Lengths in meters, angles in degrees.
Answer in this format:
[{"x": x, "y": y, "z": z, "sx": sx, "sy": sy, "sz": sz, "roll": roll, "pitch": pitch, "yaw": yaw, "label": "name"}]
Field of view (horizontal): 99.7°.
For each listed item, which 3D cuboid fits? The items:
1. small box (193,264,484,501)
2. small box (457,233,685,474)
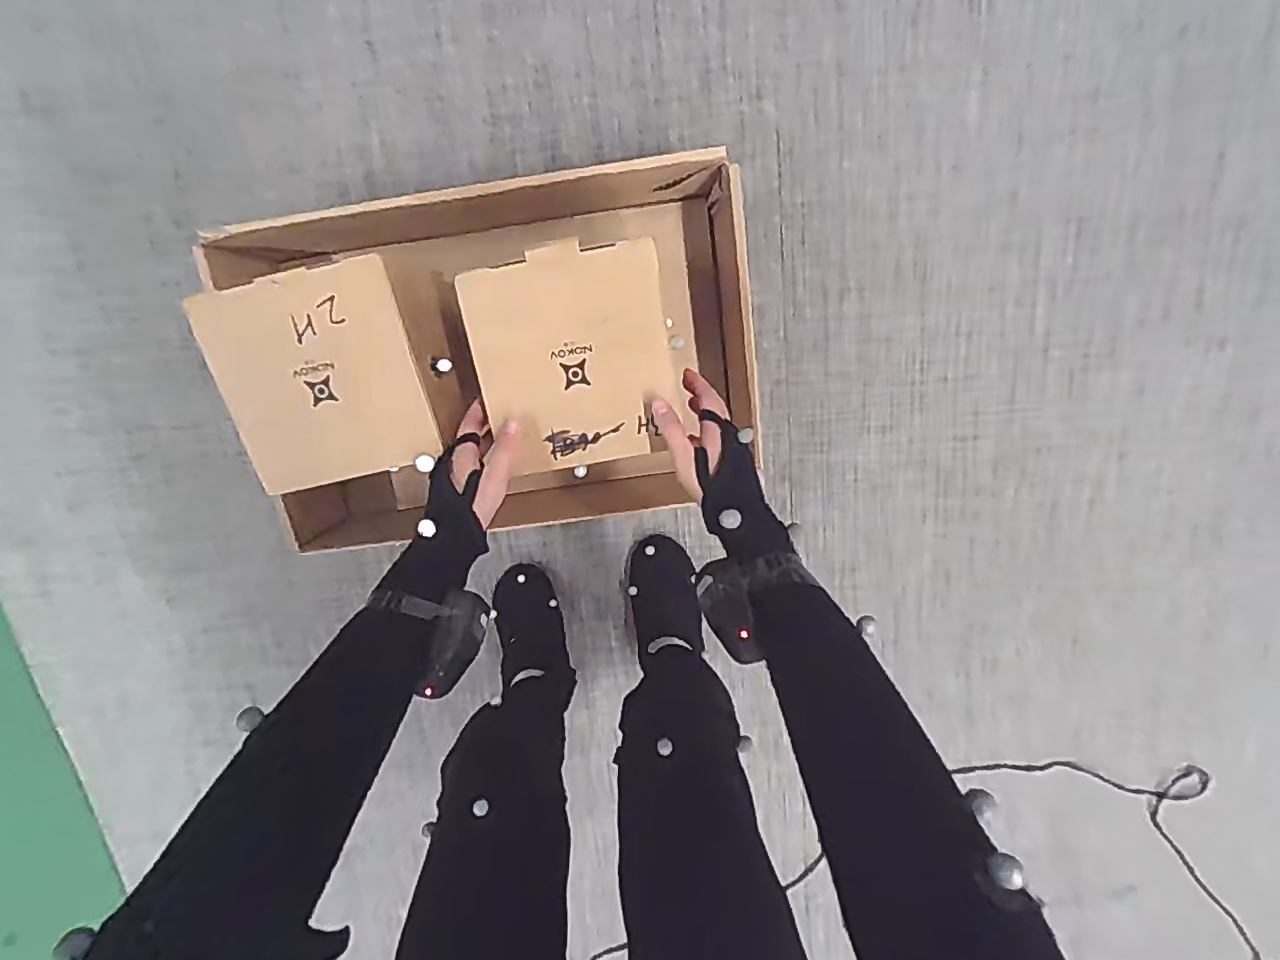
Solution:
[{"x": -0.272, "y": -0.101, "z": 0.540, "sx": 0.168, "sy": 0.176, "sz": 0.179, "roll": -14, "pitch": 106, "yaw": 1, "label": "small box"}, {"x": -0.053, "y": -0.120, "z": 0.531, "sx": 0.168, "sy": 0.176, "sz": 0.179, "roll": -10, "pitch": 104, "yaw": 5, "label": "small box"}]
